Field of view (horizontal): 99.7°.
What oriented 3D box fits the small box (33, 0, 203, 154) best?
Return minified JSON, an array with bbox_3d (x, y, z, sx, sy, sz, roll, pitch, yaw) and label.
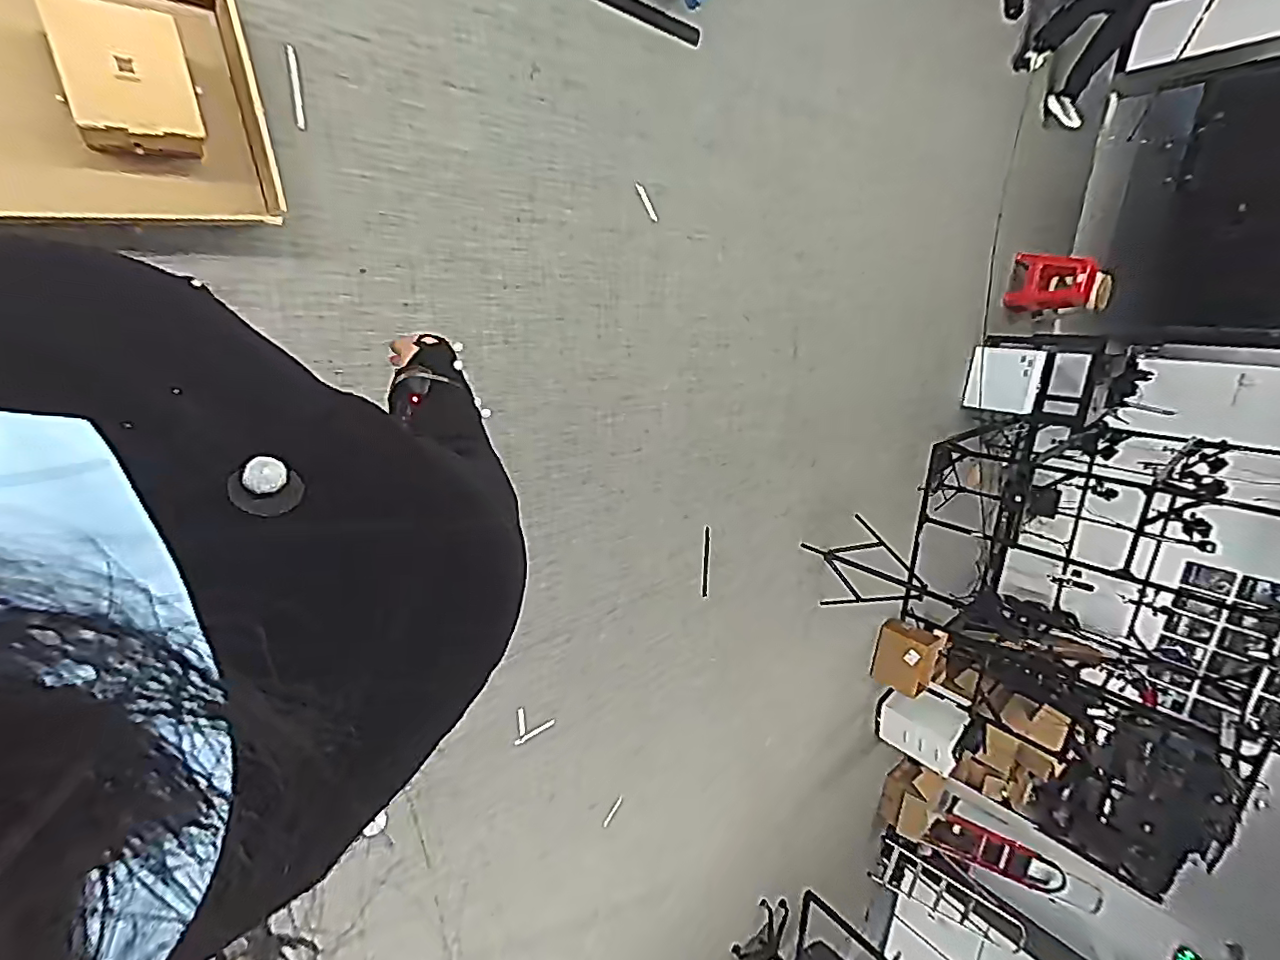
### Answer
[{"bbox_3d":[-0.871,-0.674,0.912,0.168,0.176,0.179,-19,116,-37],"label":"small box"}]
